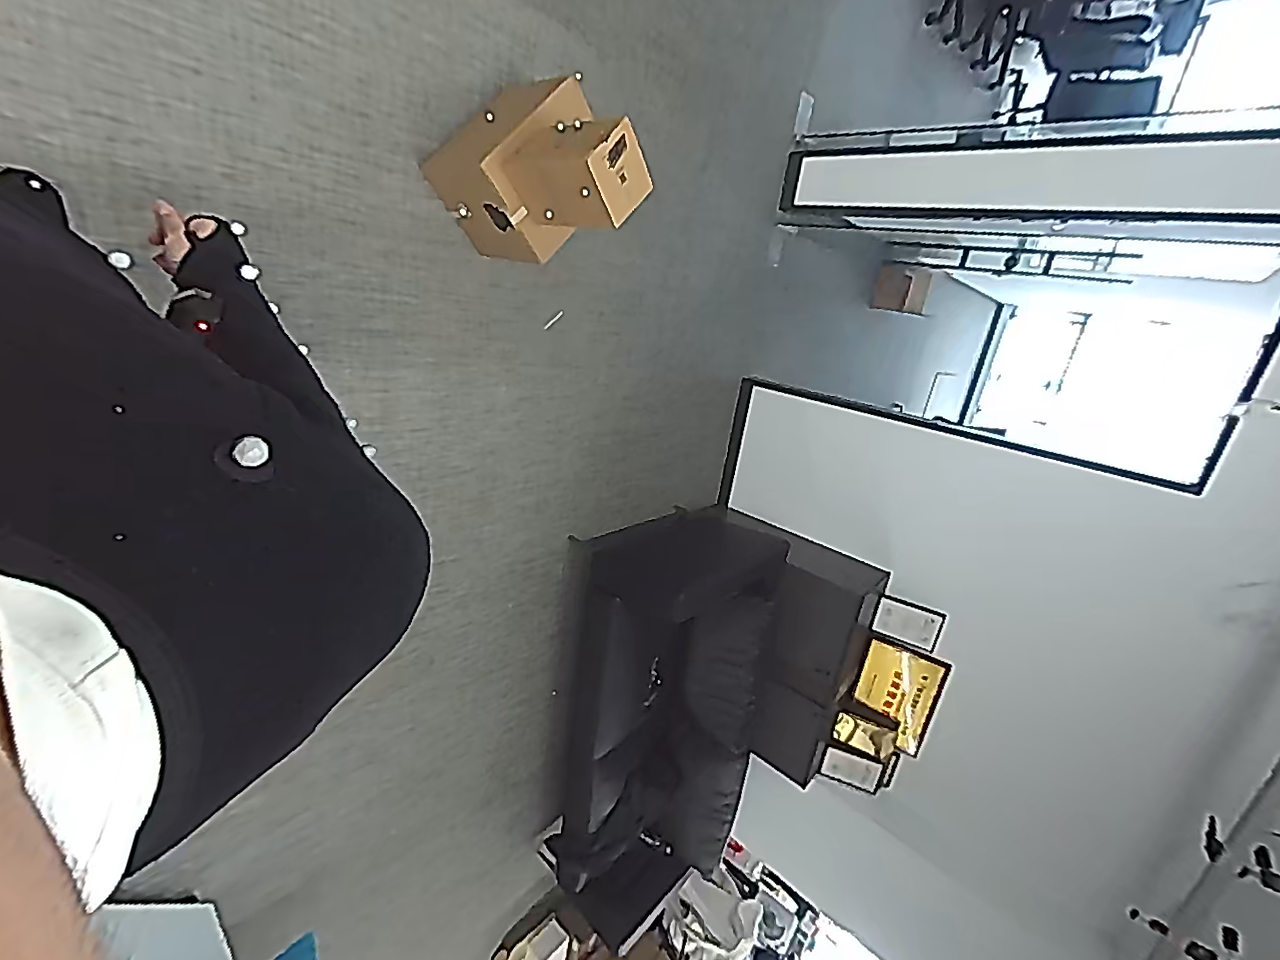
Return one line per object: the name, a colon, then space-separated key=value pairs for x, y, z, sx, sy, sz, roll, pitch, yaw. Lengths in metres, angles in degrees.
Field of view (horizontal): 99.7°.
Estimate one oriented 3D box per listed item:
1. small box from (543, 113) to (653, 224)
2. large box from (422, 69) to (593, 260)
small box: x=-0.103 y=-0.753 z=1.319 sx=0.168 sy=0.176 sz=0.179 roll=-54 pitch=142 yaw=-17
large box: x=-0.352 y=-0.921 z=1.610 sx=0.408 sy=0.320 sz=0.320 roll=-56 pitch=143 yaw=-16
